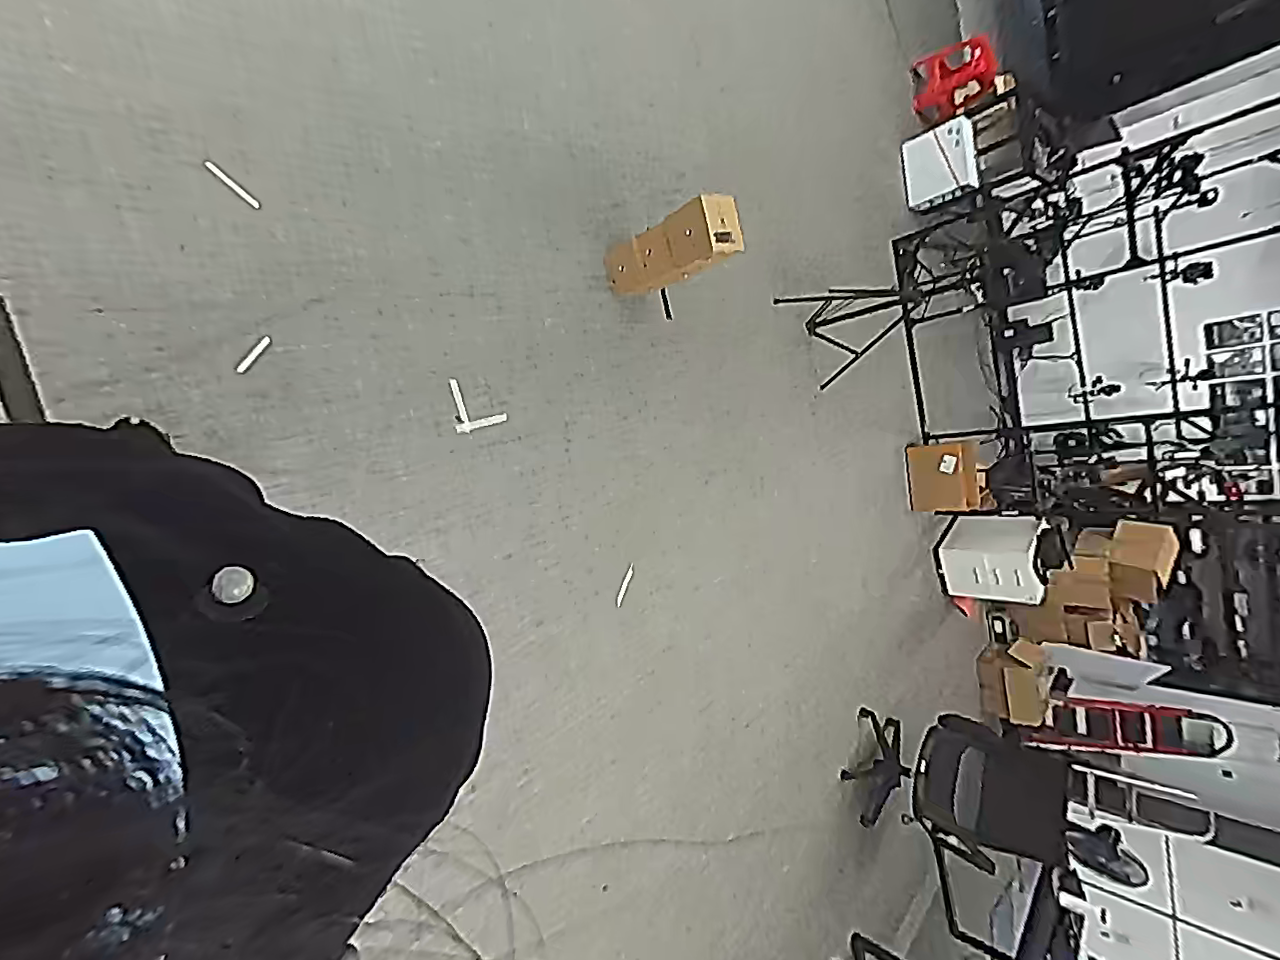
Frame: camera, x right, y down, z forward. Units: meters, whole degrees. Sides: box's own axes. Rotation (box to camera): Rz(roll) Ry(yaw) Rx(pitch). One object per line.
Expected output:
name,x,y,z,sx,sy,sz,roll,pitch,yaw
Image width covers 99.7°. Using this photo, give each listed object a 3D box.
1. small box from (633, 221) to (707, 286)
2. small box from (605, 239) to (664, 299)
small box,0.104,-0.790,1.898,0.179,0.176,0.168,-19,100,-41
small box,-0.013,-0.783,2.012,0.179,0.176,0.168,-23,103,-41
